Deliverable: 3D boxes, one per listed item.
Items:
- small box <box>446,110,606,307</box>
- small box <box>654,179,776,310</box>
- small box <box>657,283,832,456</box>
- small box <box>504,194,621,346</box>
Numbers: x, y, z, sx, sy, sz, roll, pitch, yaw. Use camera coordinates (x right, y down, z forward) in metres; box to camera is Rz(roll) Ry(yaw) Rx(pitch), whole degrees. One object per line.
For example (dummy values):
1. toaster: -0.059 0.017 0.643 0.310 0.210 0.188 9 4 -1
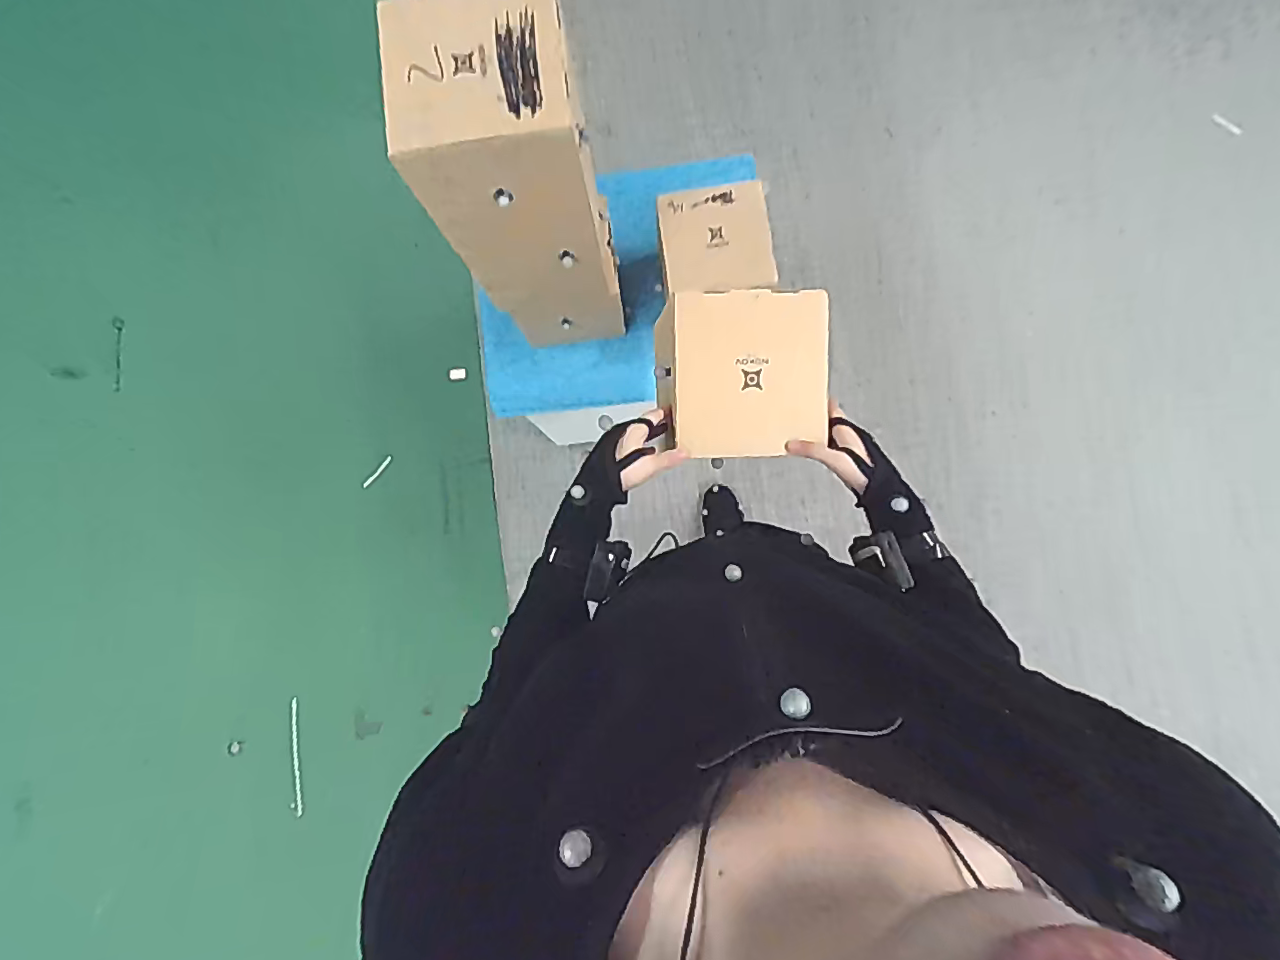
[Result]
1. small box: -0.143 -0.356 0.736 0.179 0.176 0.168 -8 82 2
2. small box: 0.117 -0.352 0.889 0.168 0.176 0.179 -7 83 2
3. small box: 0.111 -0.120 0.635 0.168 0.176 0.179 -2 94 -5
4. small box: -0.126 -0.338 0.899 0.179 0.176 0.168 -8 82 2
